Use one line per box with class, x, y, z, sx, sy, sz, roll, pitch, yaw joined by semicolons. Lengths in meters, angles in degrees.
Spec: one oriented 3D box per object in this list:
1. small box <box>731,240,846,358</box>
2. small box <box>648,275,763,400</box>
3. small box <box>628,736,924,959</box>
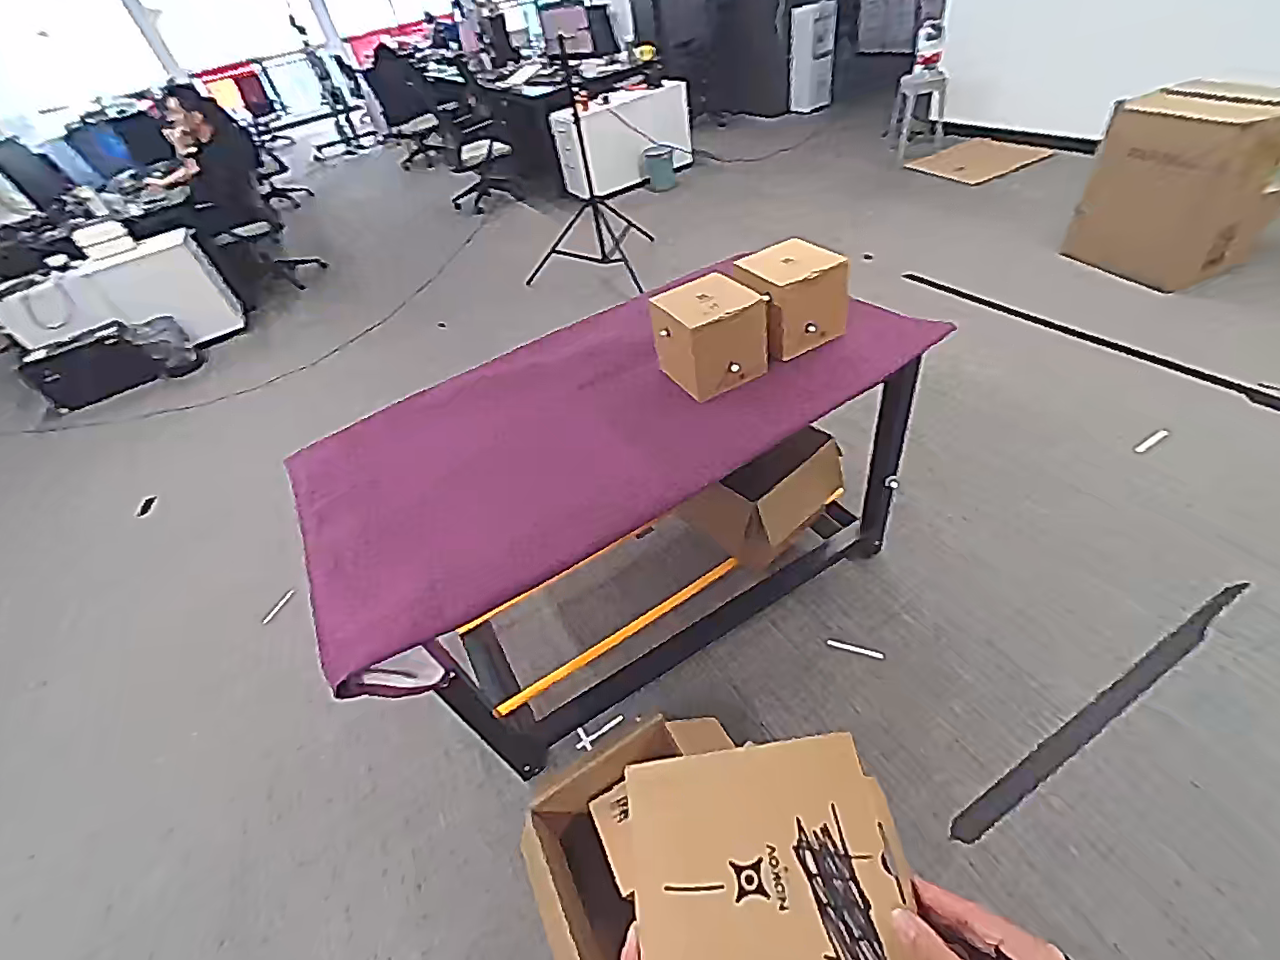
small box;0.314;-0.388;1.163;0.168;0.176;0.179;-26;44;-12
small box;0.135;-0.291;1.109;0.168;0.176;0.179;-26;44;-12
small box;0.095;0.316;0.420;0.179;0.176;0.168;-11;49;5
